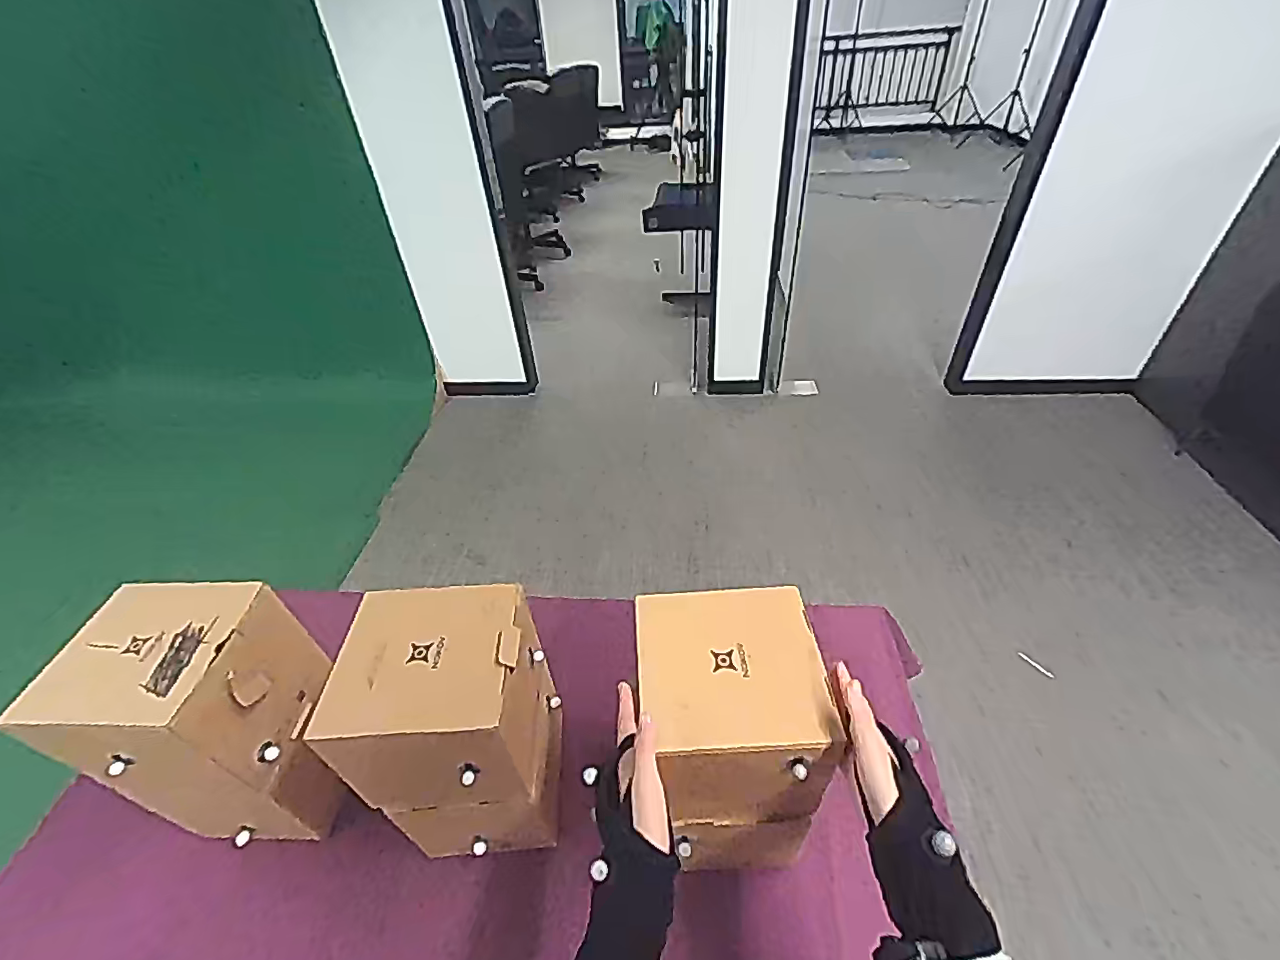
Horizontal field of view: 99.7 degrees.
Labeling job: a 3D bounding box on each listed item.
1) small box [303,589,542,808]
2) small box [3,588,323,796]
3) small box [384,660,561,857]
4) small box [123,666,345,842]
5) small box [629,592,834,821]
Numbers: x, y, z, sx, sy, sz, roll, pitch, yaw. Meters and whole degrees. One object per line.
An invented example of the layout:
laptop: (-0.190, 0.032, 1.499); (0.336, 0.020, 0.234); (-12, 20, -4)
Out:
small box: (-0.212, 0.239, 0.593); (0.179, 0.176, 0.168); (-4, 40, 2)
small box: (-0.506, 0.241, 0.614); (0.179, 0.176, 0.168); (-2, 42, 4)
small box: (-0.199, 0.360, 0.703); (0.168, 0.176, 0.179); (-5, 42, 0)
small box: (-0.497, 0.364, 0.723); (0.179, 0.176, 0.168); (-1, 41, 4)
small box: (0.083, 0.239, 0.568); (0.179, 0.176, 0.168); (-4, 41, 1)
